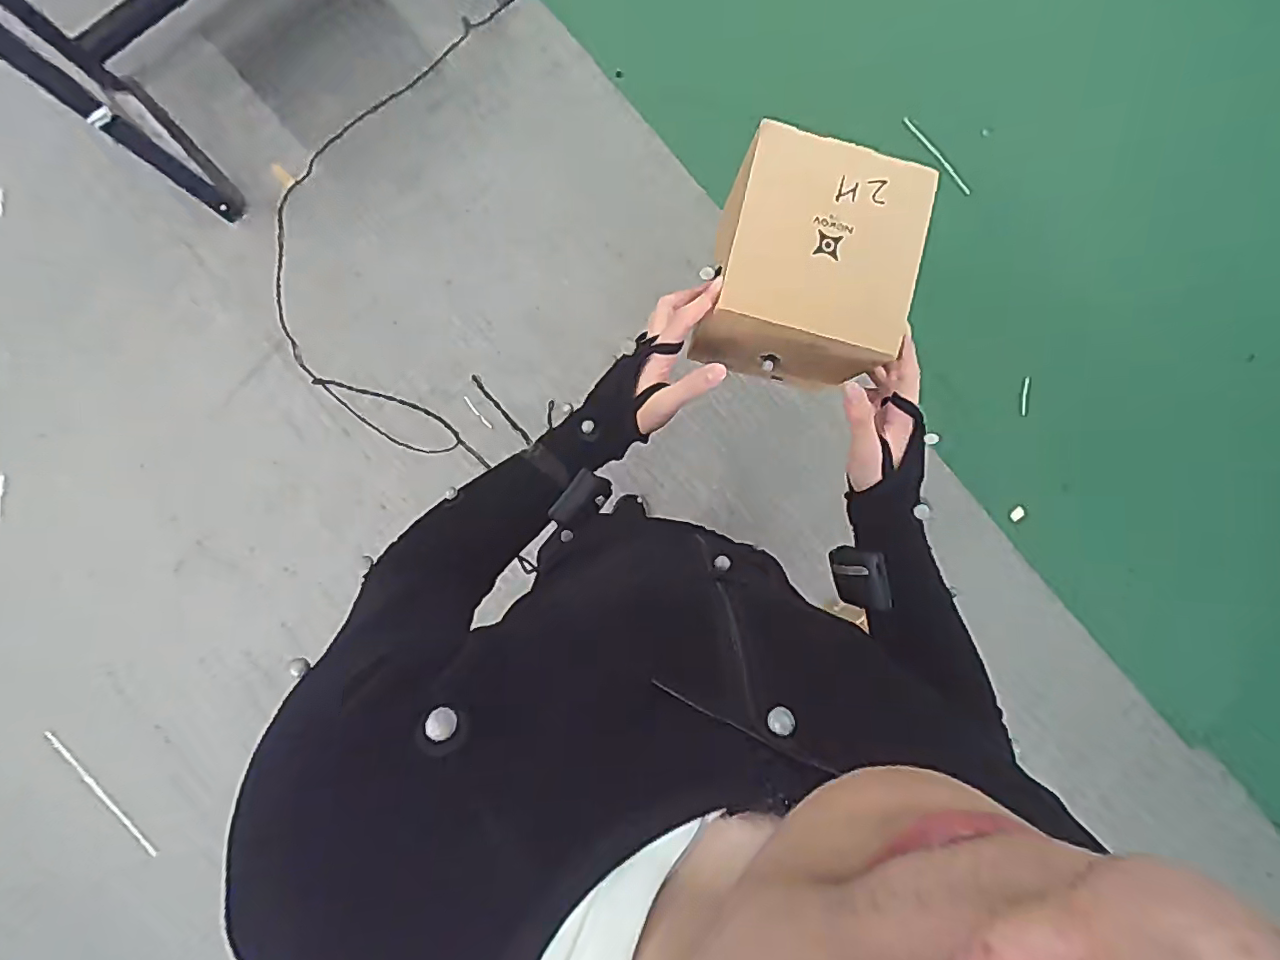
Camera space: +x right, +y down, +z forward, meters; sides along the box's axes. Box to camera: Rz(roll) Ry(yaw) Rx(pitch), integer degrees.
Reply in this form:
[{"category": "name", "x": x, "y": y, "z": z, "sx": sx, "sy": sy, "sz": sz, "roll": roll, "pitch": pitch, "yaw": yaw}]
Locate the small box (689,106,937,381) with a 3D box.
[{"category": "small box", "x": 0.153, "y": -0.212, "z": 0.538, "sx": 0.168, "sy": 0.176, "sz": 0.179, "roll": 14, "pitch": 86, "yaw": -4}]
